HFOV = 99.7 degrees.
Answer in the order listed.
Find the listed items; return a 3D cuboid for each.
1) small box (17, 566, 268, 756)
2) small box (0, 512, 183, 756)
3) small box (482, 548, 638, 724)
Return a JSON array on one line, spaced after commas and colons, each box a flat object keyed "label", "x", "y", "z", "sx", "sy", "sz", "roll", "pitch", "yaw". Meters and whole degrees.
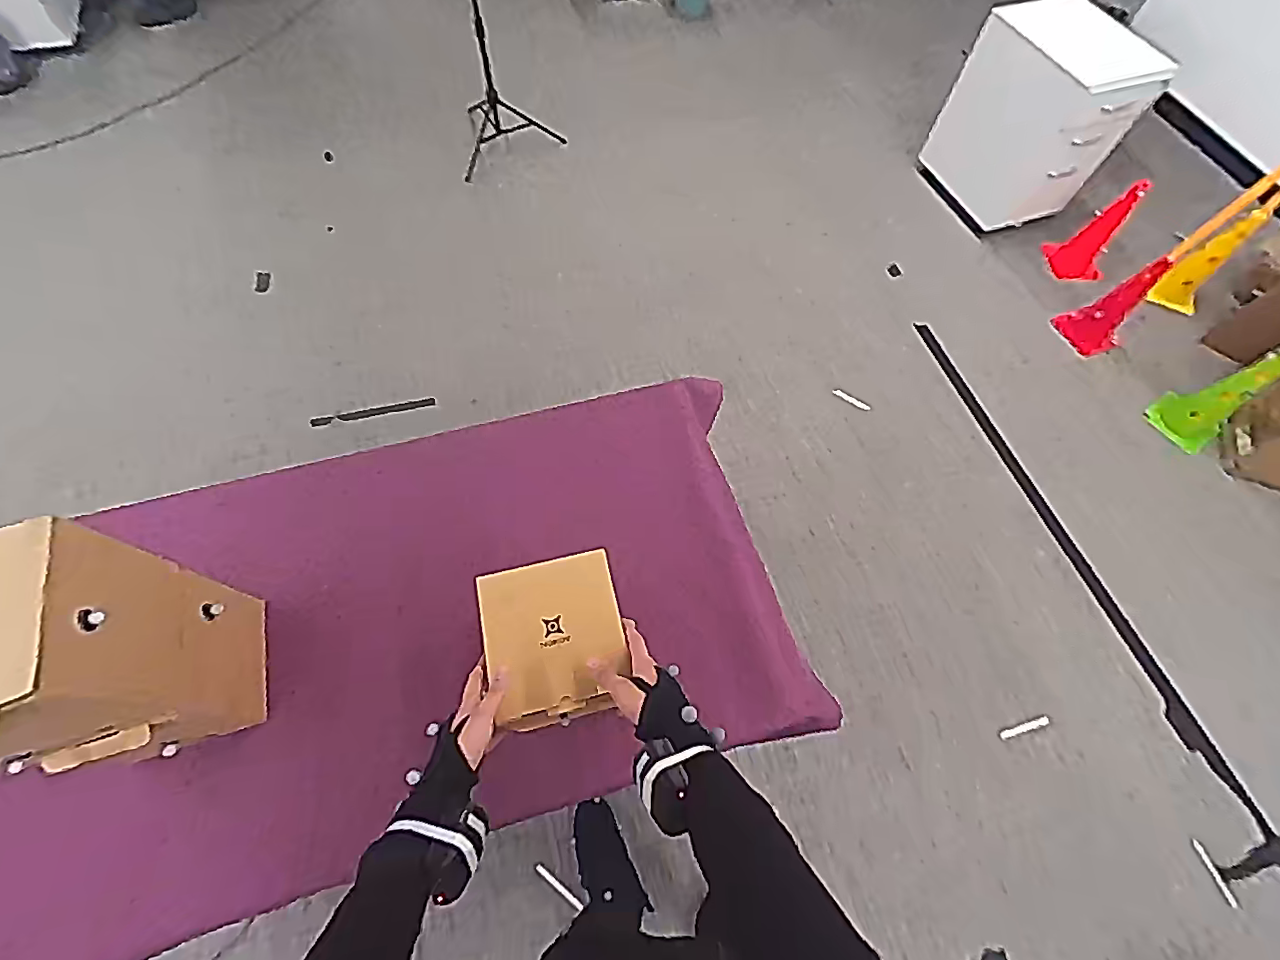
[{"label": "small box", "x": -0.604, "y": 0.233, "z": 0.685, "sx": 0.168, "sy": 0.176, "sz": 0.179, "roll": -15, "pitch": 66, "yaw": -9}, {"label": "small box", "x": -0.599, "y": 0.161, "z": 0.537, "sx": 0.168, "sy": 0.176, "sz": 0.179, "roll": -18, "pitch": 65, "yaw": -11}, {"label": "small box", "x": -0.104, "y": 0.212, "z": 0.719, "sx": 0.168, "sy": 0.176, "sz": 0.179, "roll": -12, "pitch": 65, "yaw": -8}]
